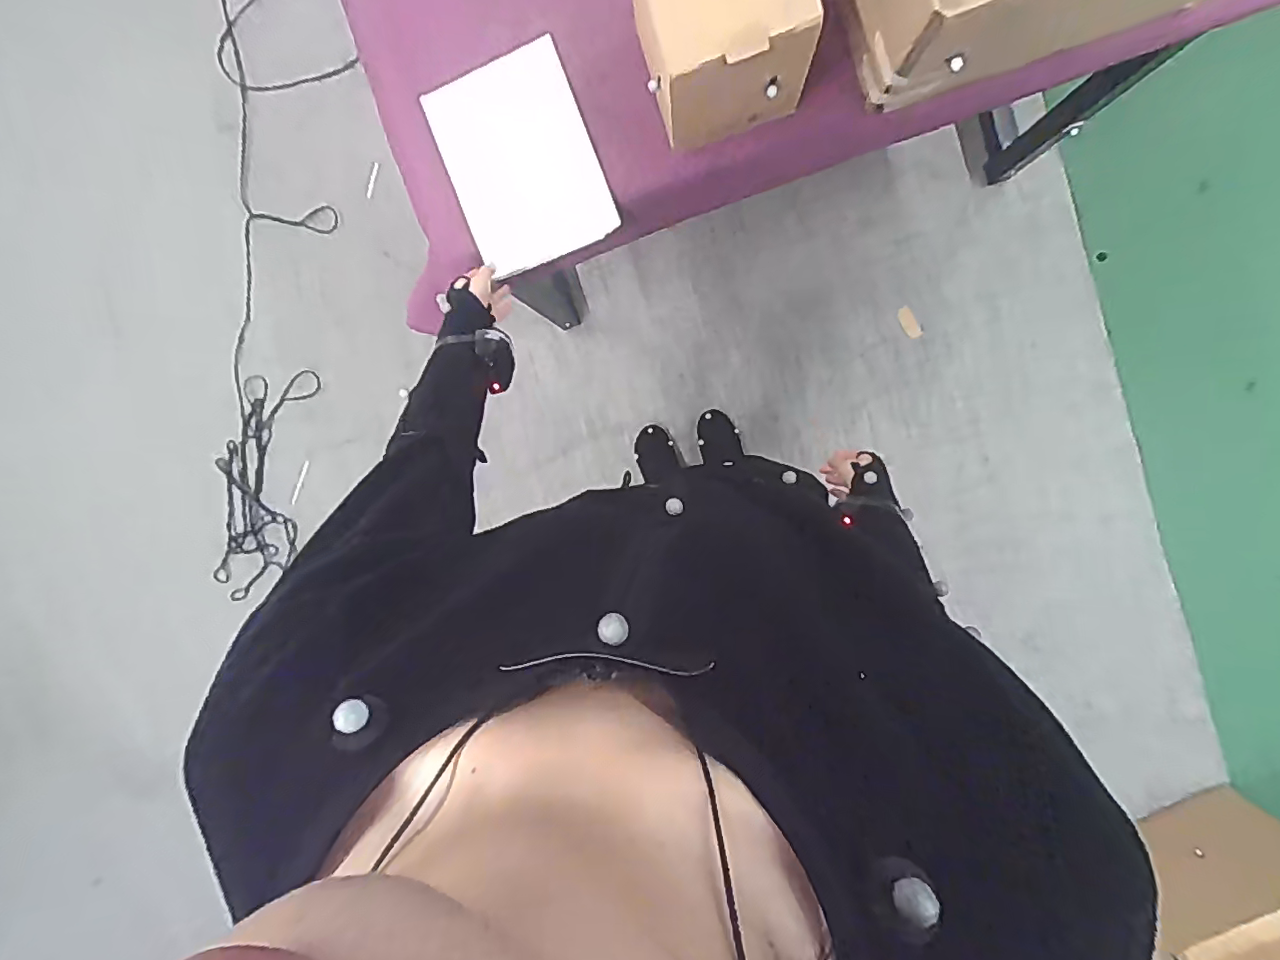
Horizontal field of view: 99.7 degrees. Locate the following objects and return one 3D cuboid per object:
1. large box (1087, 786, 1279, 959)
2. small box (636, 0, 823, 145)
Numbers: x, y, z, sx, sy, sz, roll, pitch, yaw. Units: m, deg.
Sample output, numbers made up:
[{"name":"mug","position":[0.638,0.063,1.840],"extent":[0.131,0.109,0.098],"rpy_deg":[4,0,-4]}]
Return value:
[{"name":"large box","position":[1.472,1.066,1.342],"extent":[0.408,0.320,0.320],"rpy_deg":[-33,93,7]},{"name":"small box","position":[0.092,-0.525,0.624],"extent":[0.168,0.176,0.179],"rpy_deg":[-16,93,6]}]
